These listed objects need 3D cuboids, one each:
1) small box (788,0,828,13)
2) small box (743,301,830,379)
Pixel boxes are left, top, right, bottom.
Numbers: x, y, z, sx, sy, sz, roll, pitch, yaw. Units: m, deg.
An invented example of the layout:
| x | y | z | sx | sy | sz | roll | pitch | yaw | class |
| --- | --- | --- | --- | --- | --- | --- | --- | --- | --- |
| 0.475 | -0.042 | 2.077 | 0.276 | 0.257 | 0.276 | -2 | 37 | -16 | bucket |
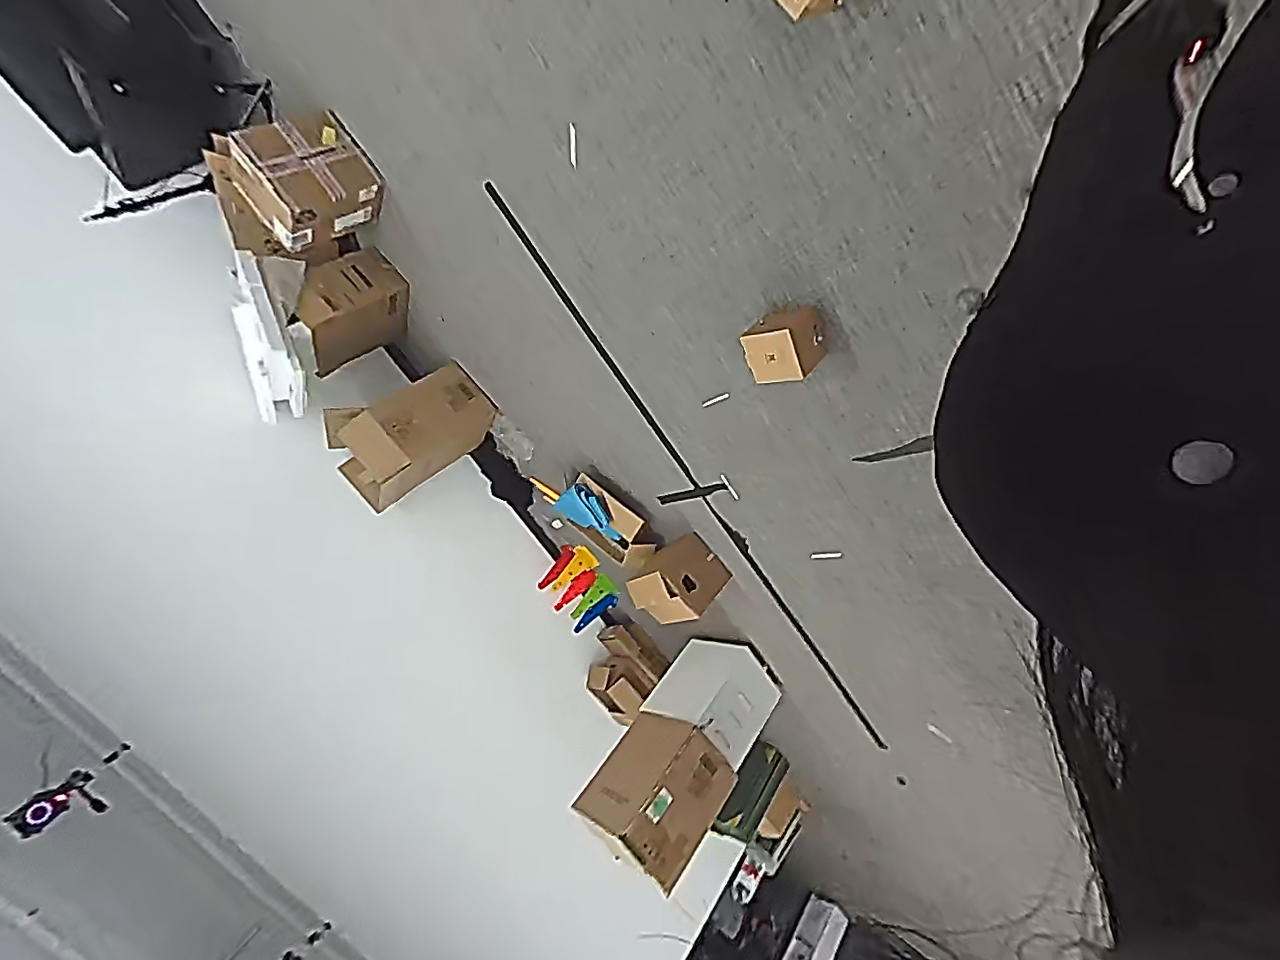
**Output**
| x | y | z | sx | sy | sz | roll | pitch | yaw | class |
| --- | --- | --- | --- | --- | --- | --- | --- | --- | --- |
| 0.348 | -1.074 | 1.054 | 0.179 | 0.176 | 0.168 | 49 | 149 | -2 | small box |
| 0.452 | -0.428 | 1.659 | 0.179 | 0.176 | 0.168 | 3 | 130 | 47 | small box |
